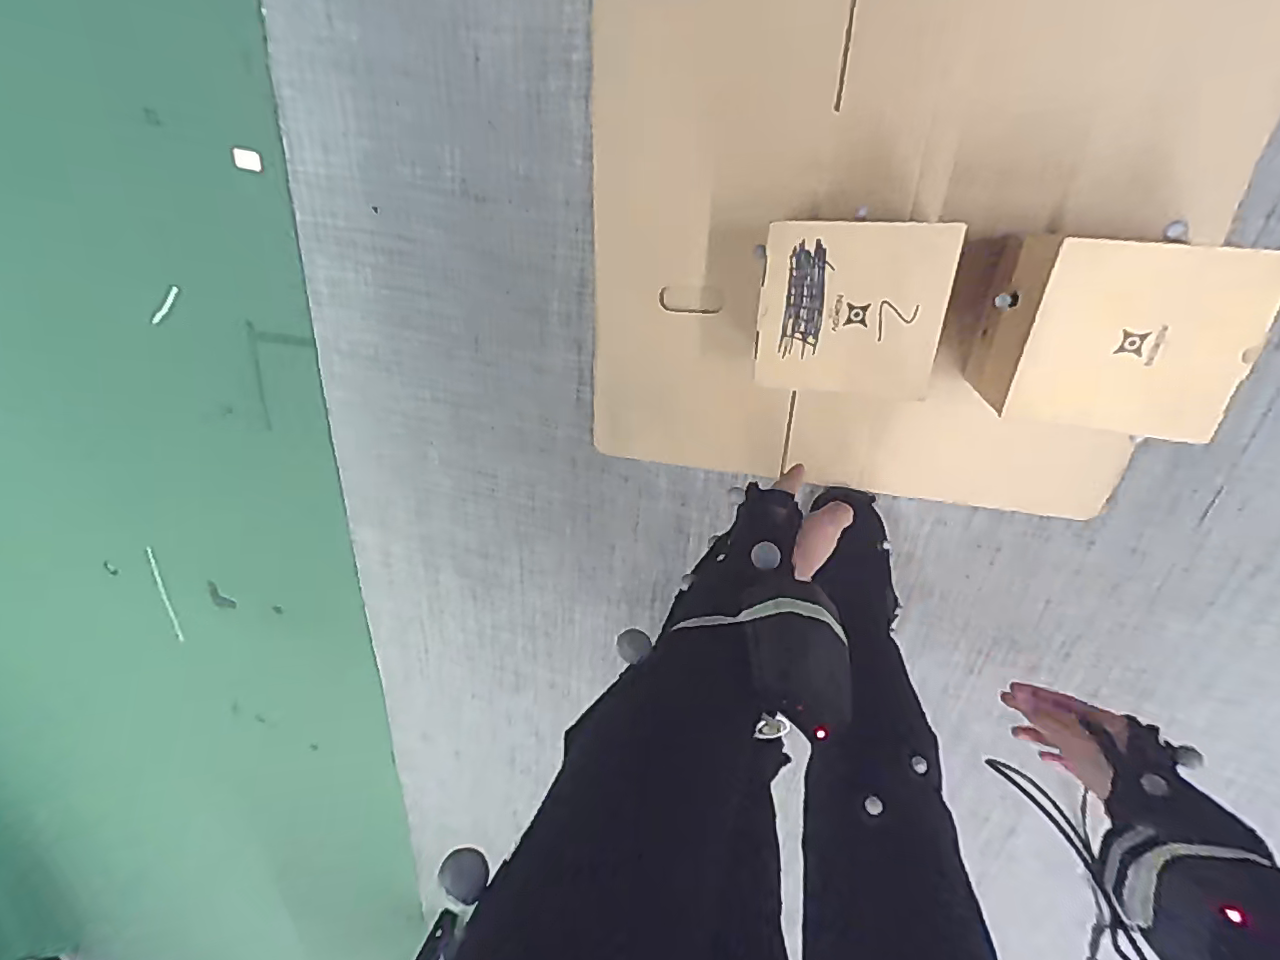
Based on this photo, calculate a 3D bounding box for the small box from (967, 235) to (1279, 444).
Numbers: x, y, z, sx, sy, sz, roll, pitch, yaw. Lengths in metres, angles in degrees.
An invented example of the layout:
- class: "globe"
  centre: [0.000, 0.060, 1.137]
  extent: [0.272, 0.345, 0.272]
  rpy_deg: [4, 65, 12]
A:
- class: "small box"
  centre: [0.462, -0.152, 0.548]
  extent: [0.179, 0.176, 0.168]
  rpy_deg: [10, 116, 14]
